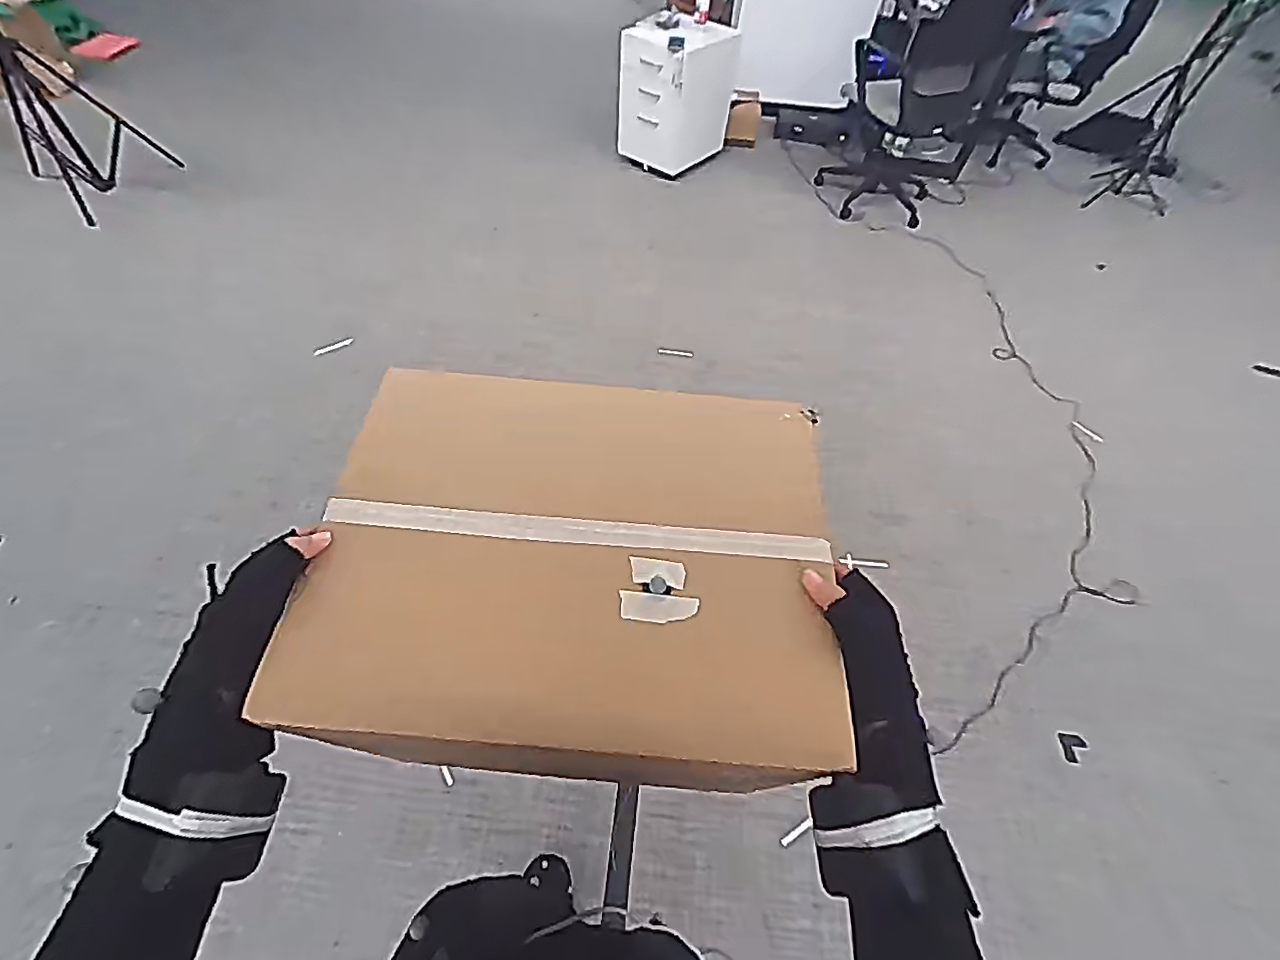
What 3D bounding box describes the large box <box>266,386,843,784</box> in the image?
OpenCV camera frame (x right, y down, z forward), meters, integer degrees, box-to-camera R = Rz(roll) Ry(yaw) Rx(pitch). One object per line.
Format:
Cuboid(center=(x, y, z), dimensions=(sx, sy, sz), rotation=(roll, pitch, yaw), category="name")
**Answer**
Cuboid(center=(-0.058, 0.129, 0.571), dimensions=(0.408, 0.320, 0.320), rotation=(5, 59, -1), category="large box")
